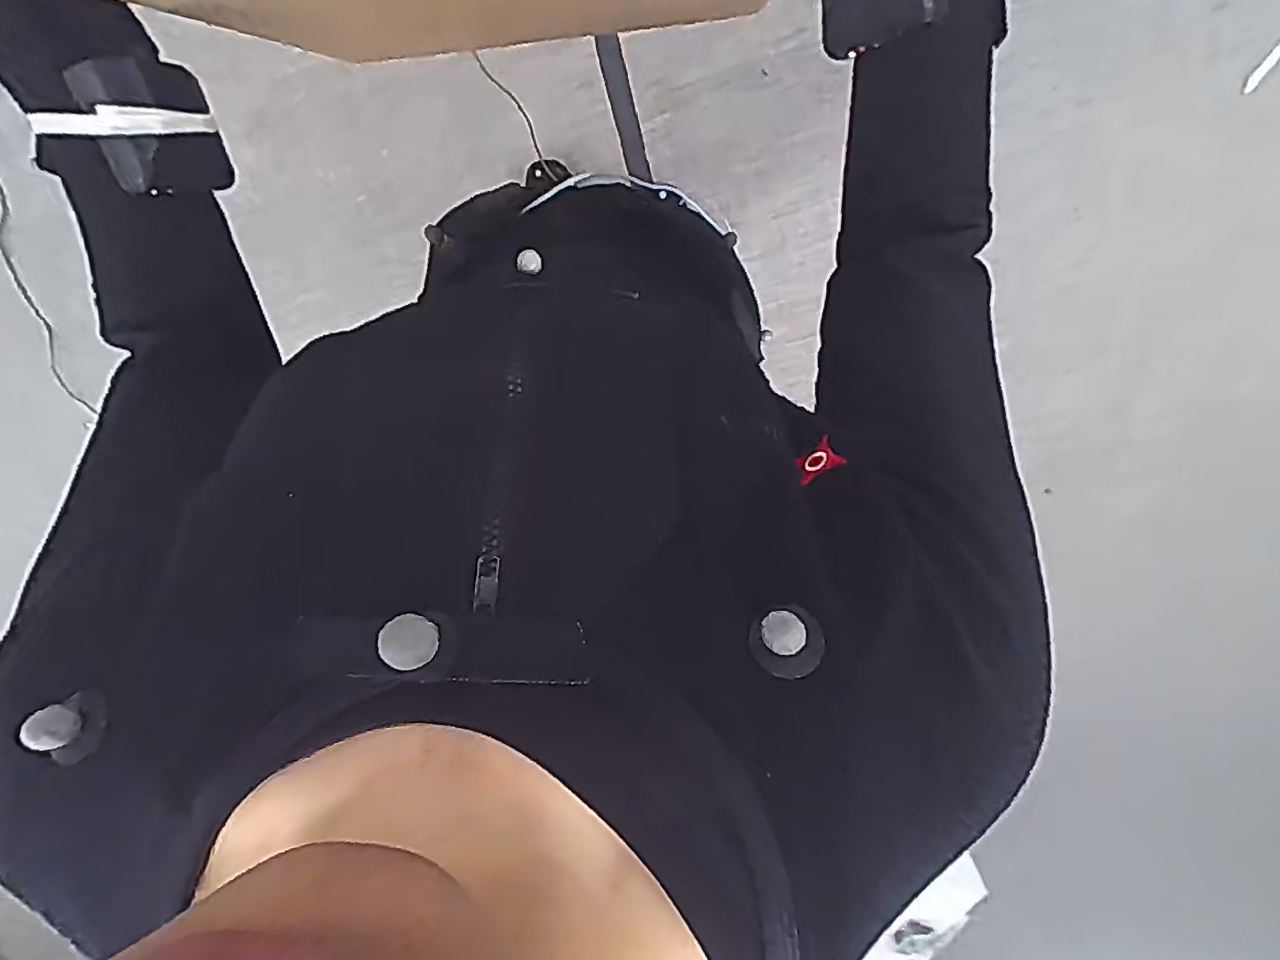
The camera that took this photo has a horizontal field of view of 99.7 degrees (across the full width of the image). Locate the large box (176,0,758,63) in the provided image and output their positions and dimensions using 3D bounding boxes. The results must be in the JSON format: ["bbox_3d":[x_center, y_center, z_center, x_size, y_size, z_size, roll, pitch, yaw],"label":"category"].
[{"bbox_3d":[-0.097,-0.484,0.320,0.408,0.320,0.320,-5,122,3],"label":"large box"}]
